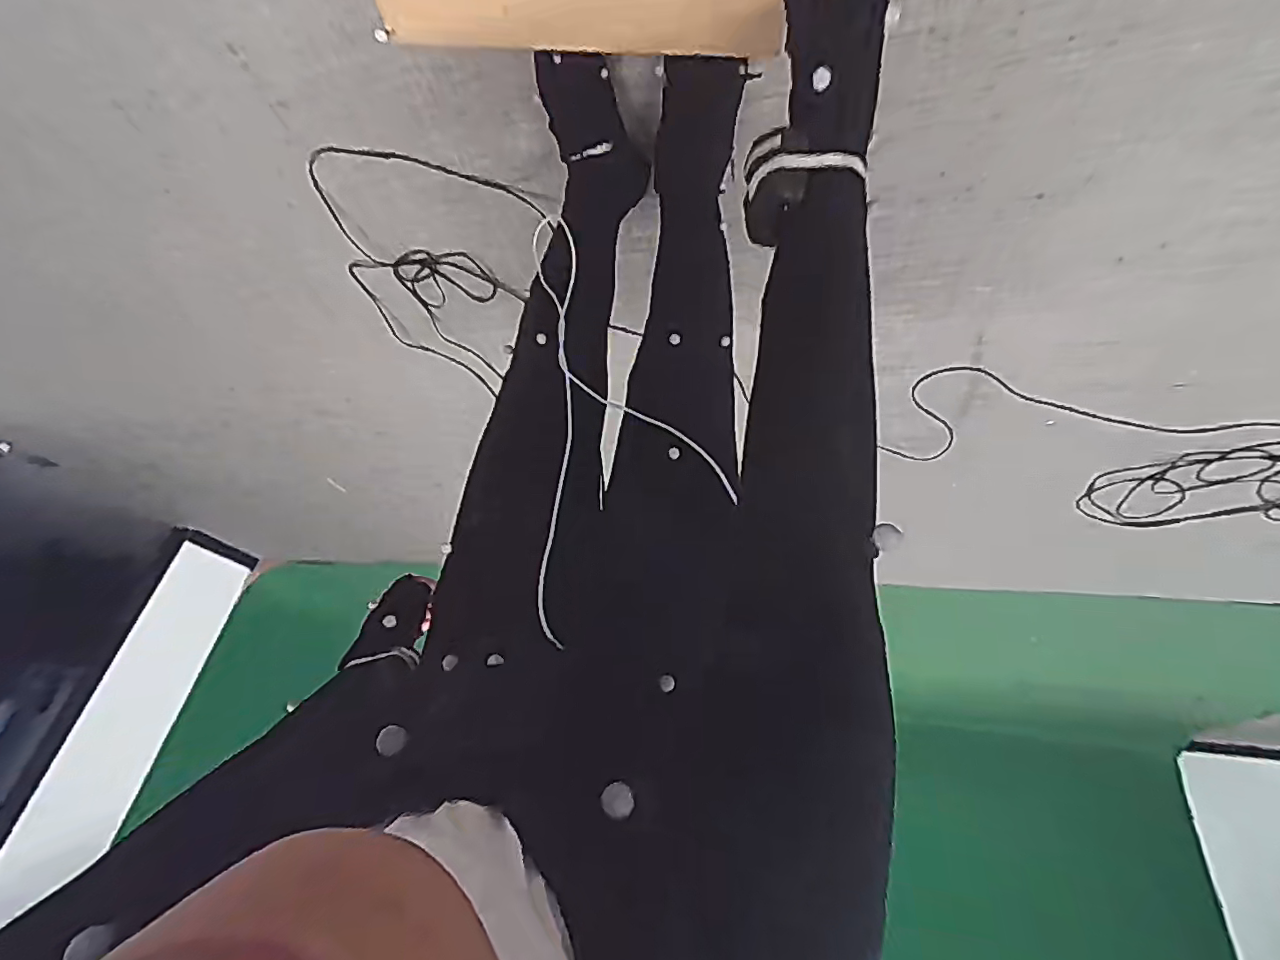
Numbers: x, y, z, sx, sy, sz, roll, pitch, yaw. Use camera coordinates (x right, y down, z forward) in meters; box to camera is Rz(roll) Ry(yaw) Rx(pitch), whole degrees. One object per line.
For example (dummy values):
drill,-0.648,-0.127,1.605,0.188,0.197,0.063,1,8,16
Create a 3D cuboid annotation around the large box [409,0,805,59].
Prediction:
large box,-0.023,-0.651,0.505,0.408,0.320,0.320,8,151,7
